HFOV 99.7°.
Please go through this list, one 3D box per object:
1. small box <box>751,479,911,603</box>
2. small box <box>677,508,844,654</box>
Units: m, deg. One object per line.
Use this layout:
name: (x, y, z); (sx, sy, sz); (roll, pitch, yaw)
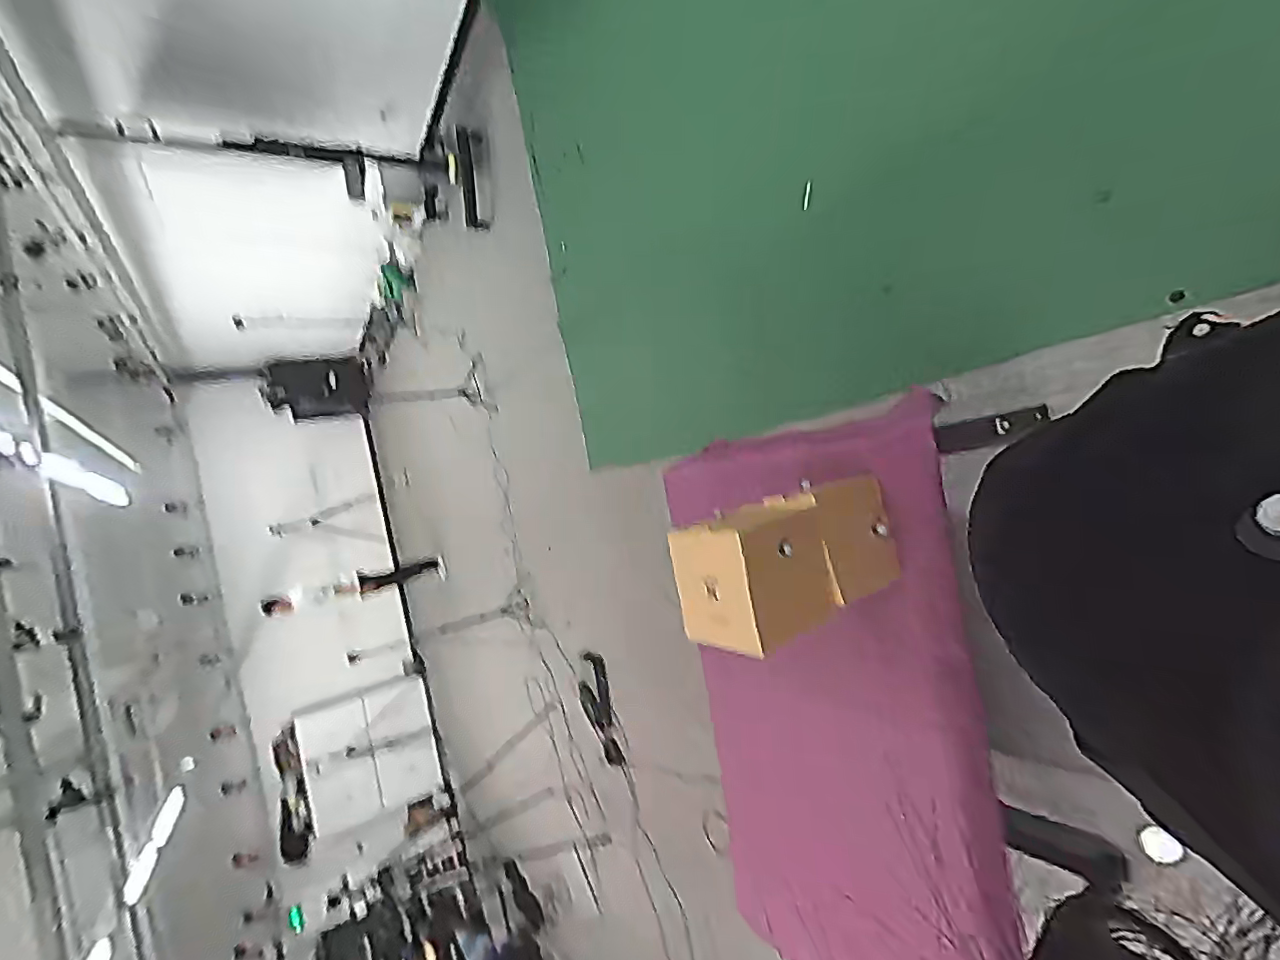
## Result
small box: (0.320, 0.100, 0.913); (0.168, 0.176, 0.179); (-20, 83, 57)
small box: (0.184, 0.140, 0.830); (0.168, 0.176, 0.179); (-9, 93, 57)
